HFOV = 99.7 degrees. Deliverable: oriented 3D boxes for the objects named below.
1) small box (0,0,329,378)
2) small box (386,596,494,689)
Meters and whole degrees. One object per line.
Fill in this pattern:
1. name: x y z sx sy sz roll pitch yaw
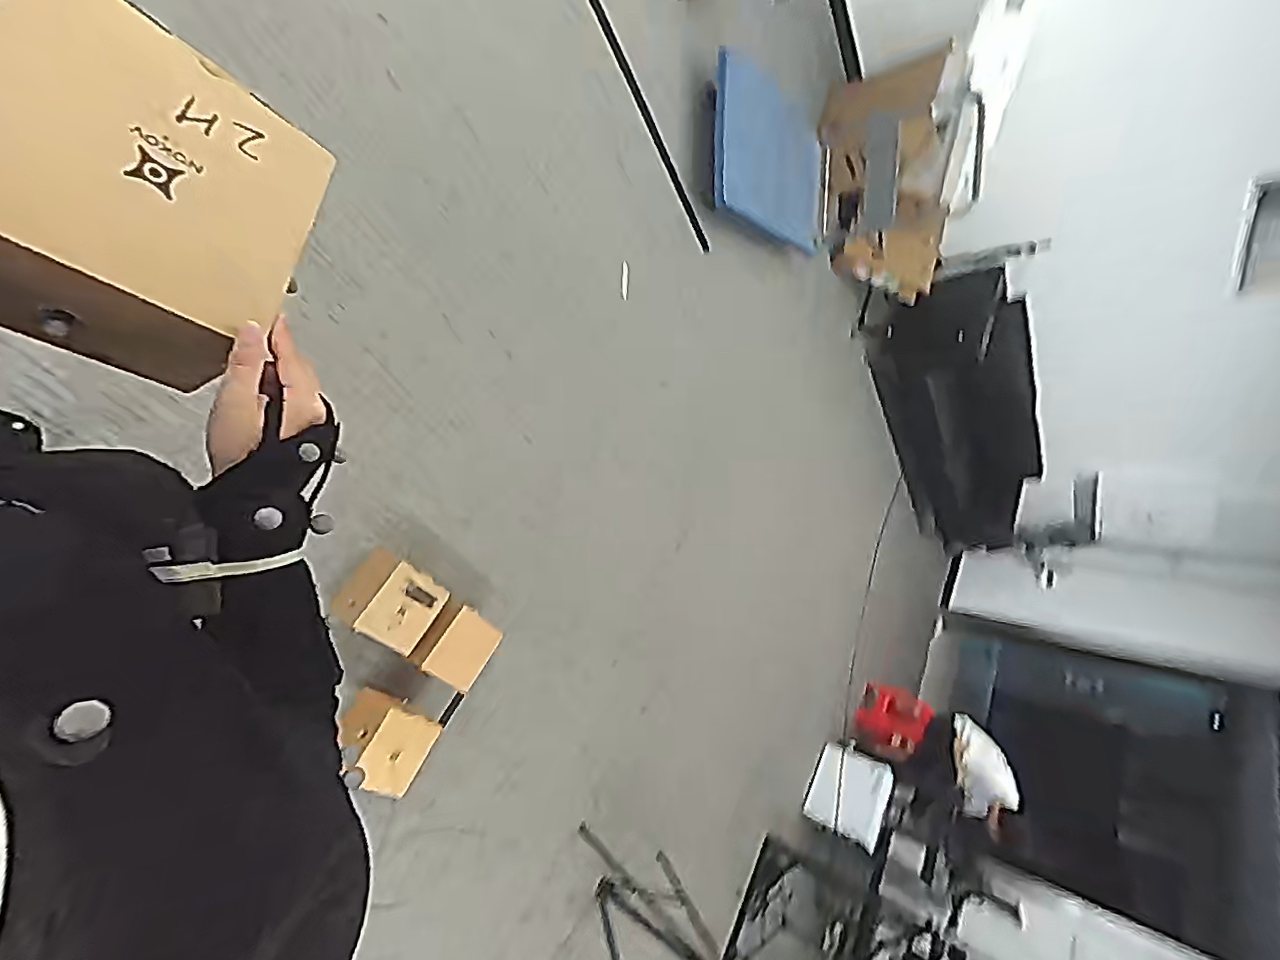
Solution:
1. small box: -0.359 -0.191 0.376 0.168 0.176 0.179 28 63 -49
2. small box: -0.534 0.441 1.455 0.179 0.176 0.168 -58 132 -27
